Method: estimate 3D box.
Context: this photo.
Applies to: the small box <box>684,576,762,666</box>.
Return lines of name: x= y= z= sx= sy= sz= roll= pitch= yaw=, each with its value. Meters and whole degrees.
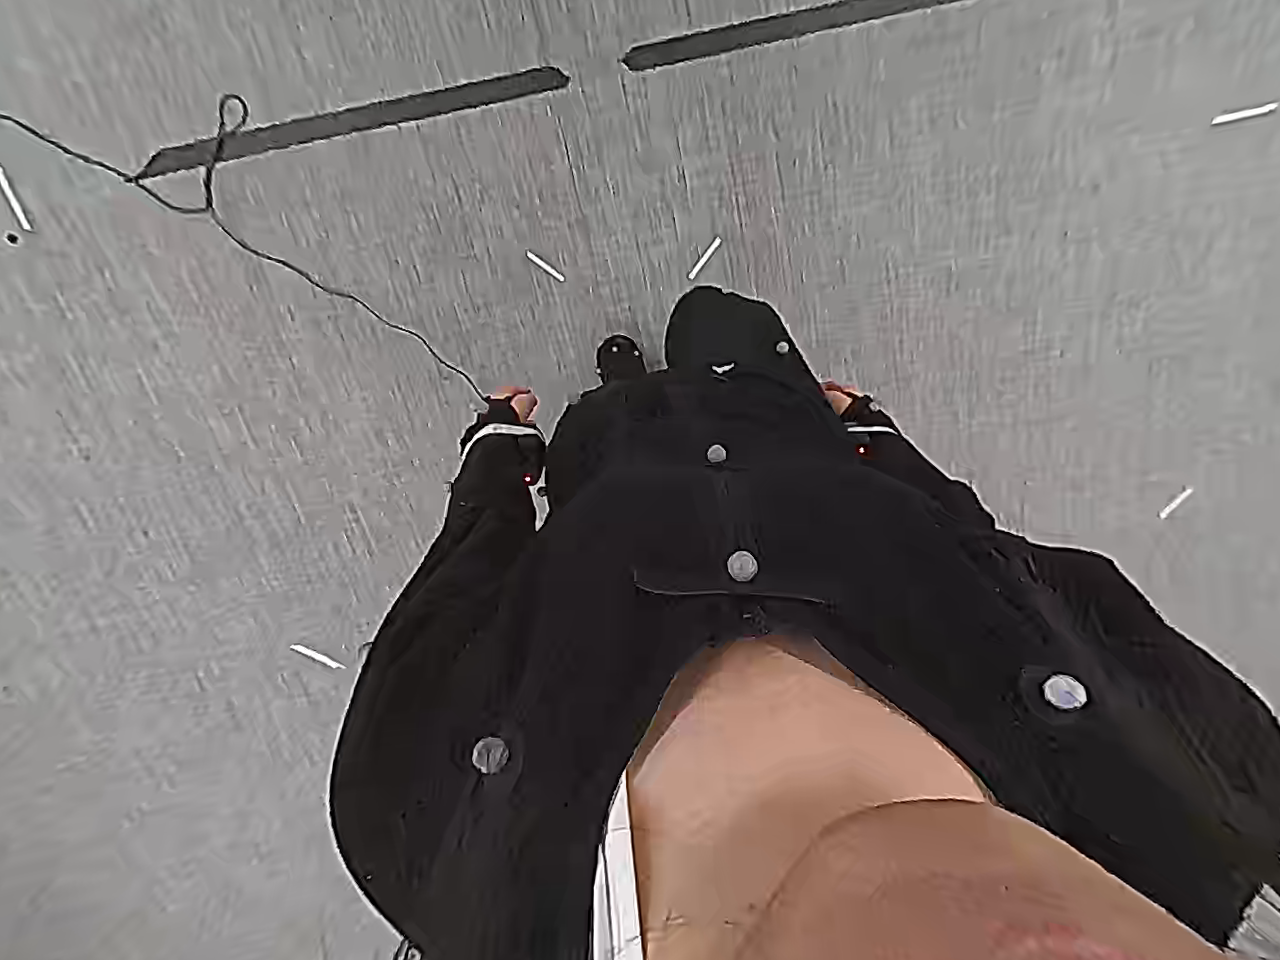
small box: x=0.233 y=0.395 z=1.552 sx=0.168 sy=0.176 sz=0.179 roll=-16 pitch=107 yaw=2
